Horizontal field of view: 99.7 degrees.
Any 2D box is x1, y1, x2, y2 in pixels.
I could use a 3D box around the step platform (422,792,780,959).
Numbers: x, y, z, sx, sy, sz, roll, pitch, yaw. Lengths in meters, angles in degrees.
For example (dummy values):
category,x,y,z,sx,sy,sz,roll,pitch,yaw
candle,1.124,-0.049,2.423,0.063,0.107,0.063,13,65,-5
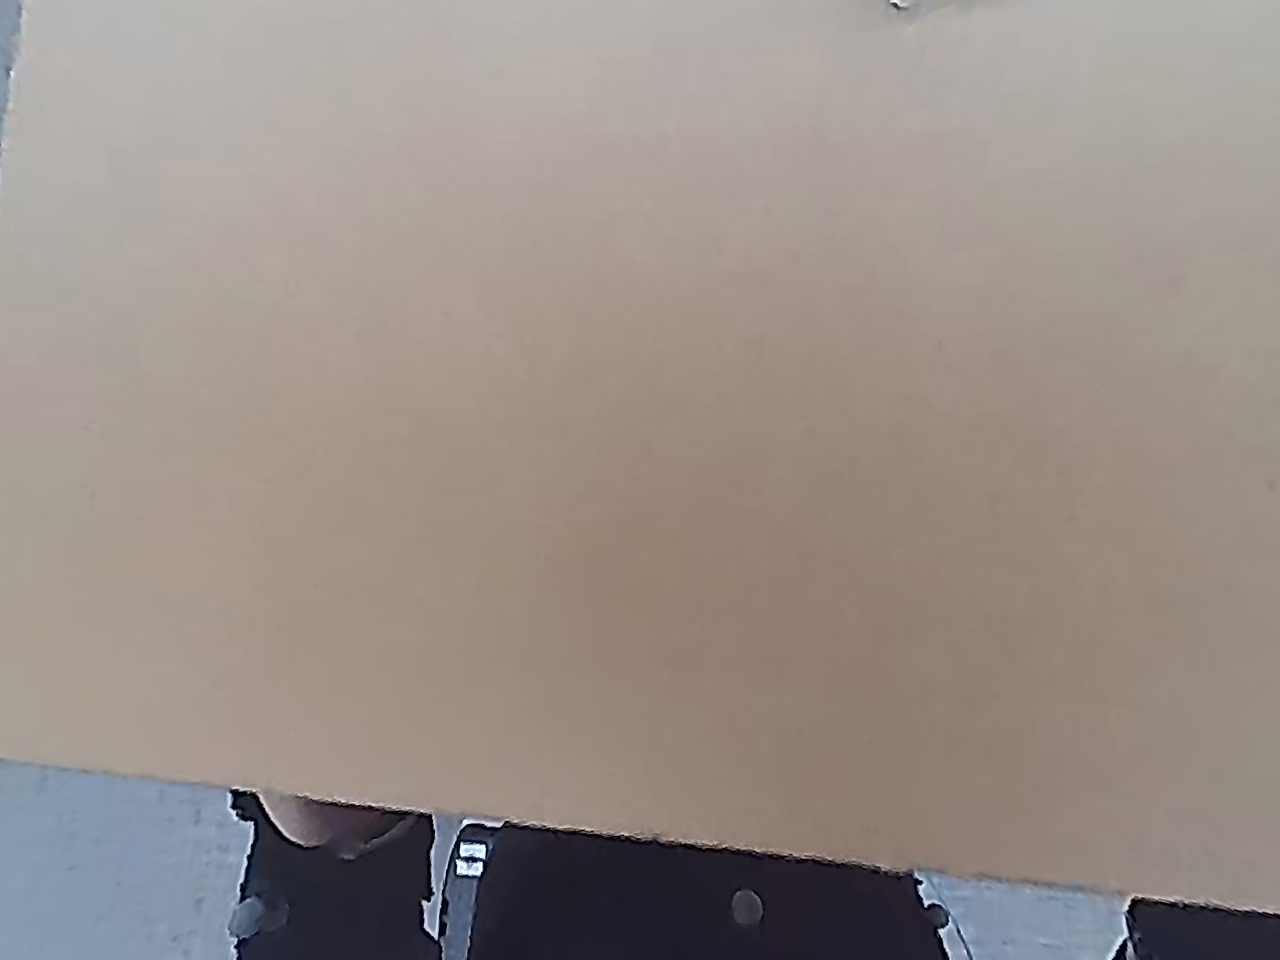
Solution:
category,x,y,z,sx,sy,sz,roll,pitch,yaw
step platform,-0.071,0.848,1.086,0.684,0.204,0.286,6,79,2
